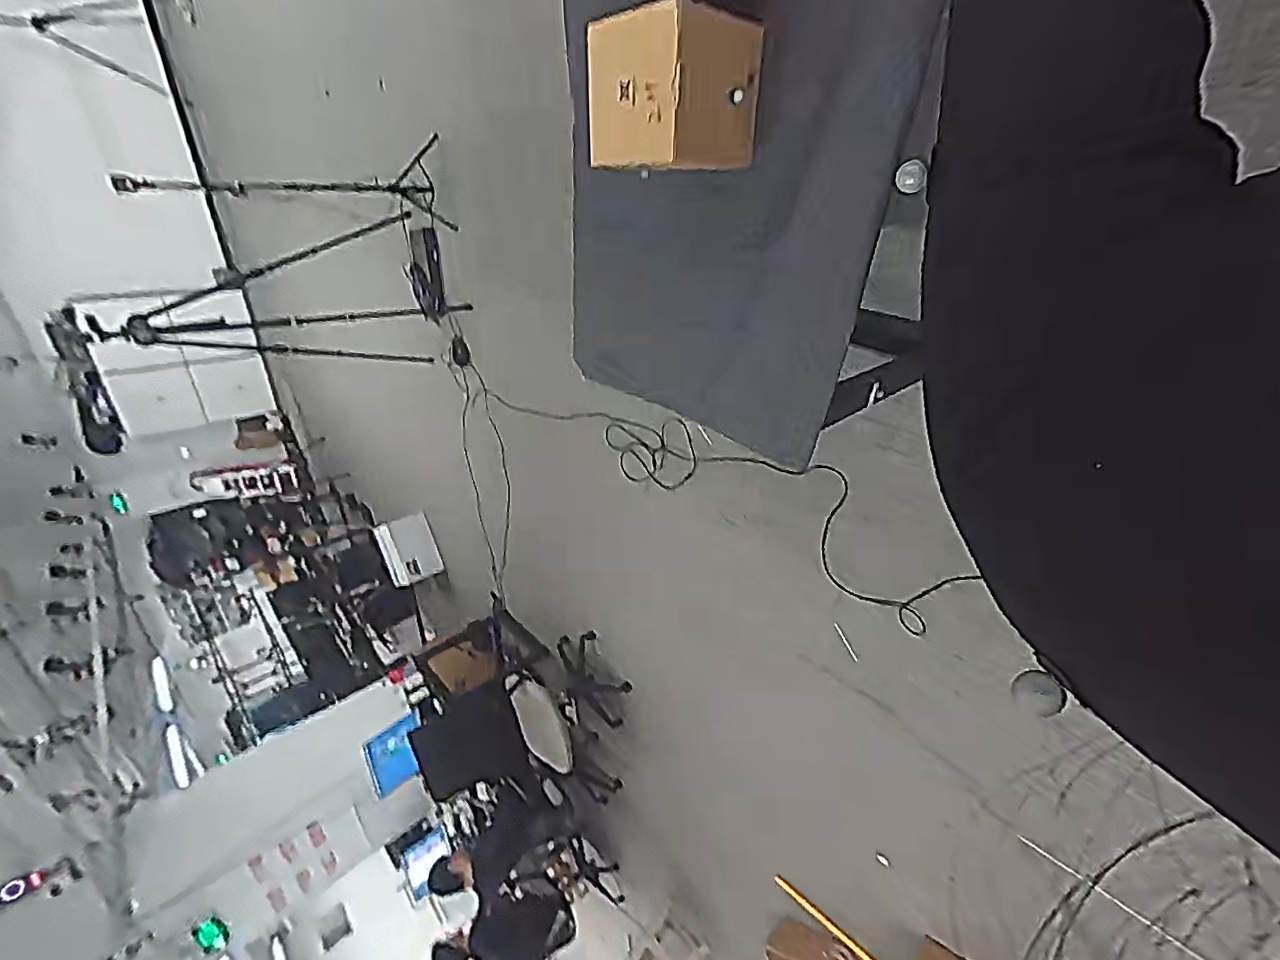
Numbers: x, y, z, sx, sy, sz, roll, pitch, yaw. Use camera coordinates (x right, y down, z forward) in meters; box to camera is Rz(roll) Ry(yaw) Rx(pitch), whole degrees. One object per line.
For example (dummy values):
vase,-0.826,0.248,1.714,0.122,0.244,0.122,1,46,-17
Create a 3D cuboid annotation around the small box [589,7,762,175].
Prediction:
small box,0.046,-0.533,0.769,0.179,0.176,0.168,27,127,40
